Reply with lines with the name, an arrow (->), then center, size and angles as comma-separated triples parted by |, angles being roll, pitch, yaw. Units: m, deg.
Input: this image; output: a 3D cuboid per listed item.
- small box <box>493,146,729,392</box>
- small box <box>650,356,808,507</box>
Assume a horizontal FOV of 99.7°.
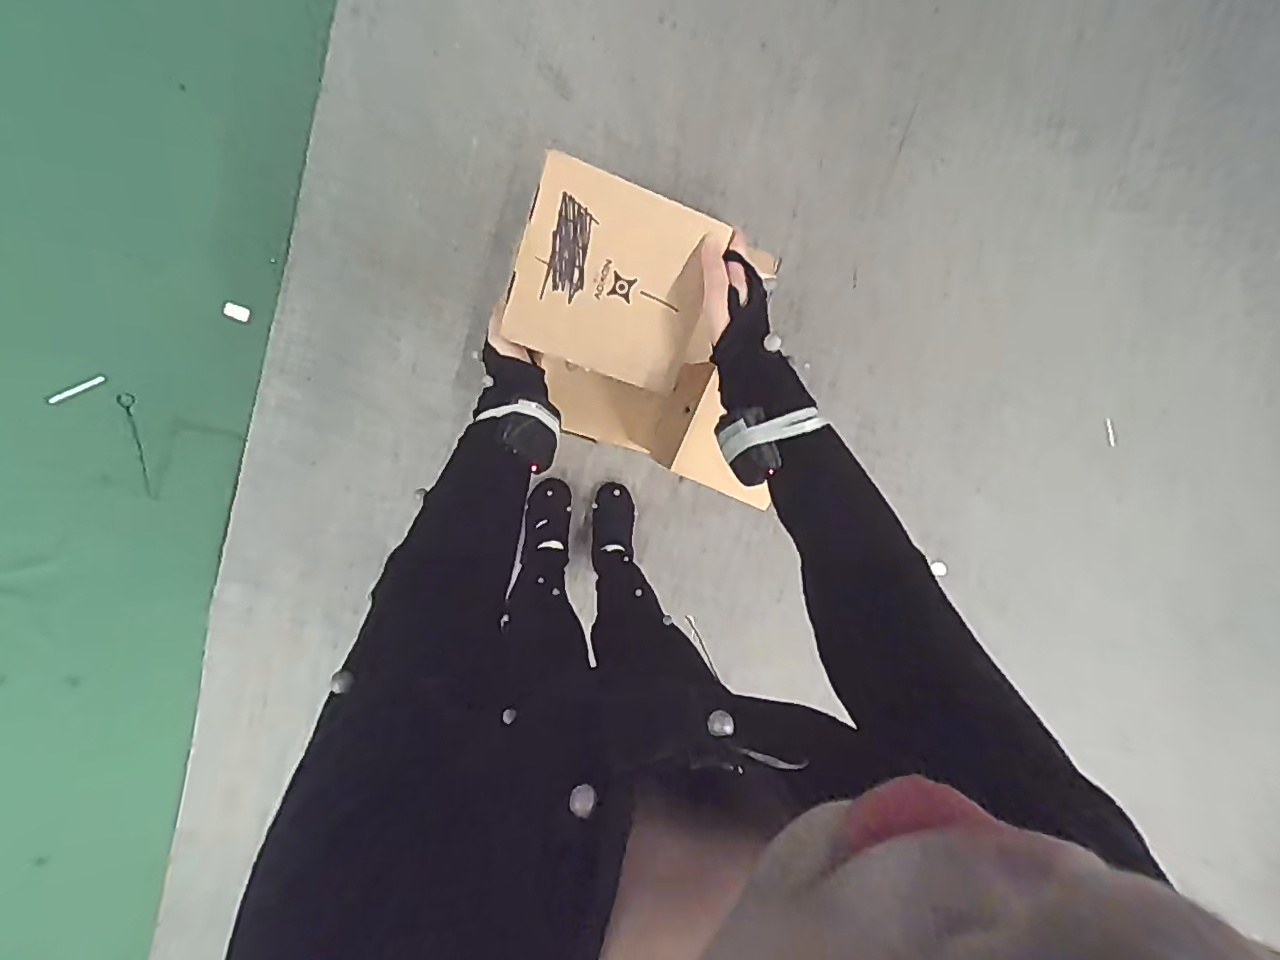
small box -> -0.035, -0.210, 0.565 | 0.179, 0.176, 0.168 | 18, 109, -13
small box -> 0.129, -0.080, 0.867 | 0.168, 0.176, 0.179 | 23, 95, -13
